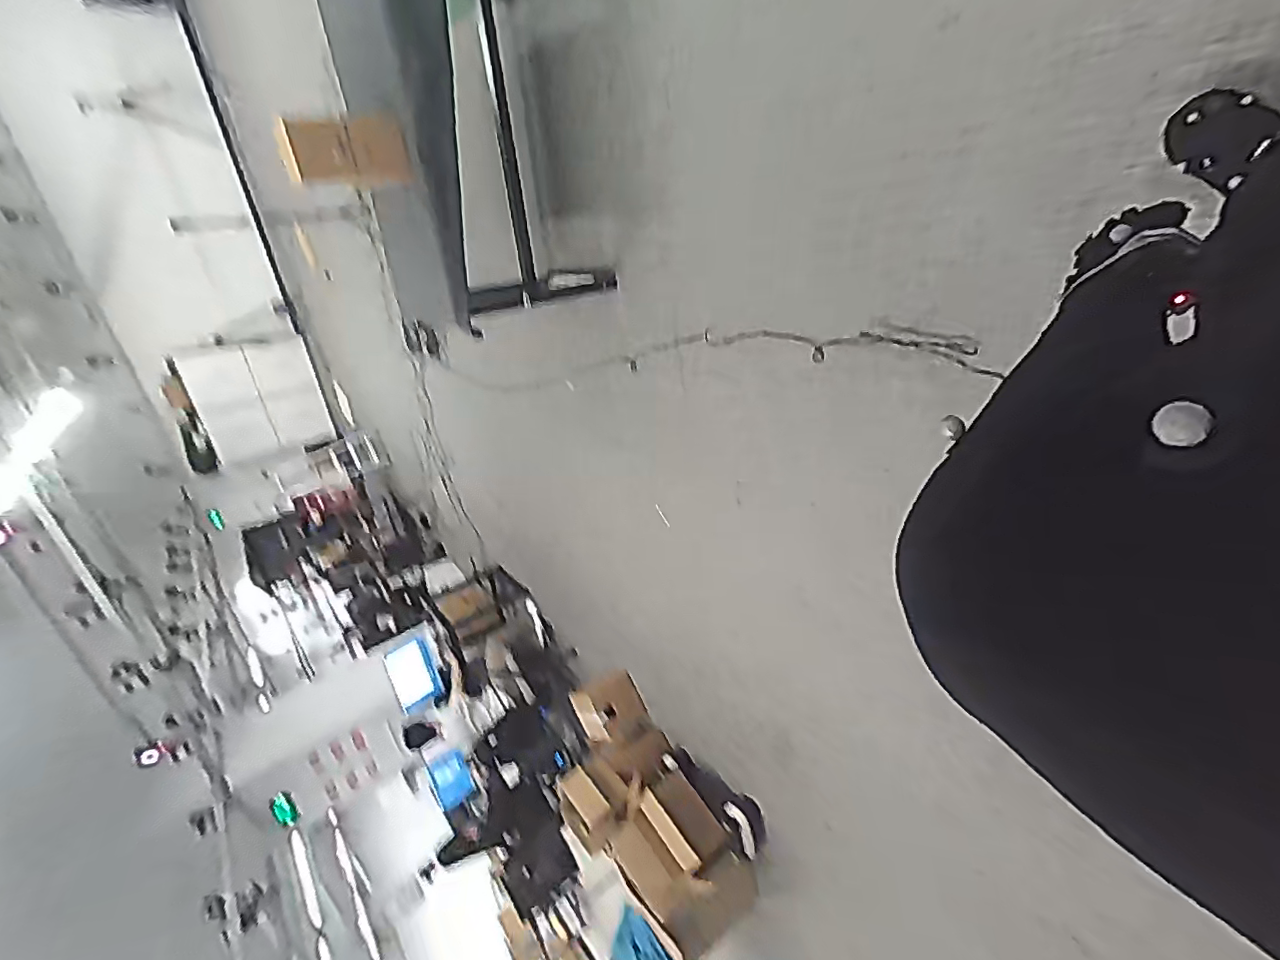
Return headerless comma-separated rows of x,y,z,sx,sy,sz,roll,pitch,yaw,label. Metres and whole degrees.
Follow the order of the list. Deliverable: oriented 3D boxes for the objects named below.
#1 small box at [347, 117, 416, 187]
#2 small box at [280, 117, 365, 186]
-0.849,-1.062,1.754,0.168,0.176,0.179,24,128,47,small box
-0.976,-1.010,1.669,0.179,0.176,0.168,24,130,45,small box
